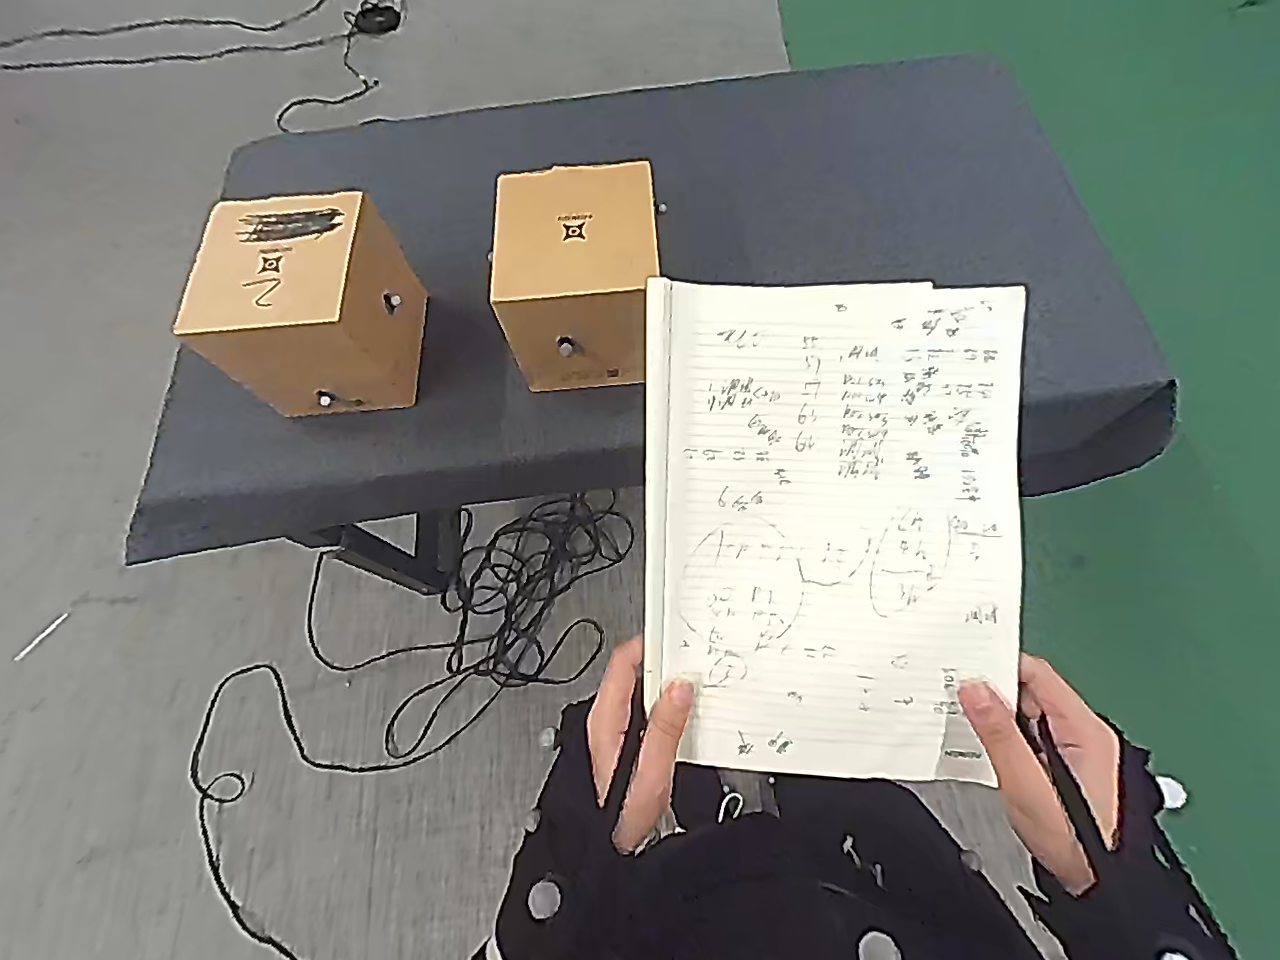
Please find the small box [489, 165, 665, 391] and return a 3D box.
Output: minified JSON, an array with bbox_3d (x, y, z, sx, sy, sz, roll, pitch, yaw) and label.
[{"bbox_3d":[-0.060,-0.213,0.612,0.168,0.176,0.179,-5,66,2],"label":"small box"}]
